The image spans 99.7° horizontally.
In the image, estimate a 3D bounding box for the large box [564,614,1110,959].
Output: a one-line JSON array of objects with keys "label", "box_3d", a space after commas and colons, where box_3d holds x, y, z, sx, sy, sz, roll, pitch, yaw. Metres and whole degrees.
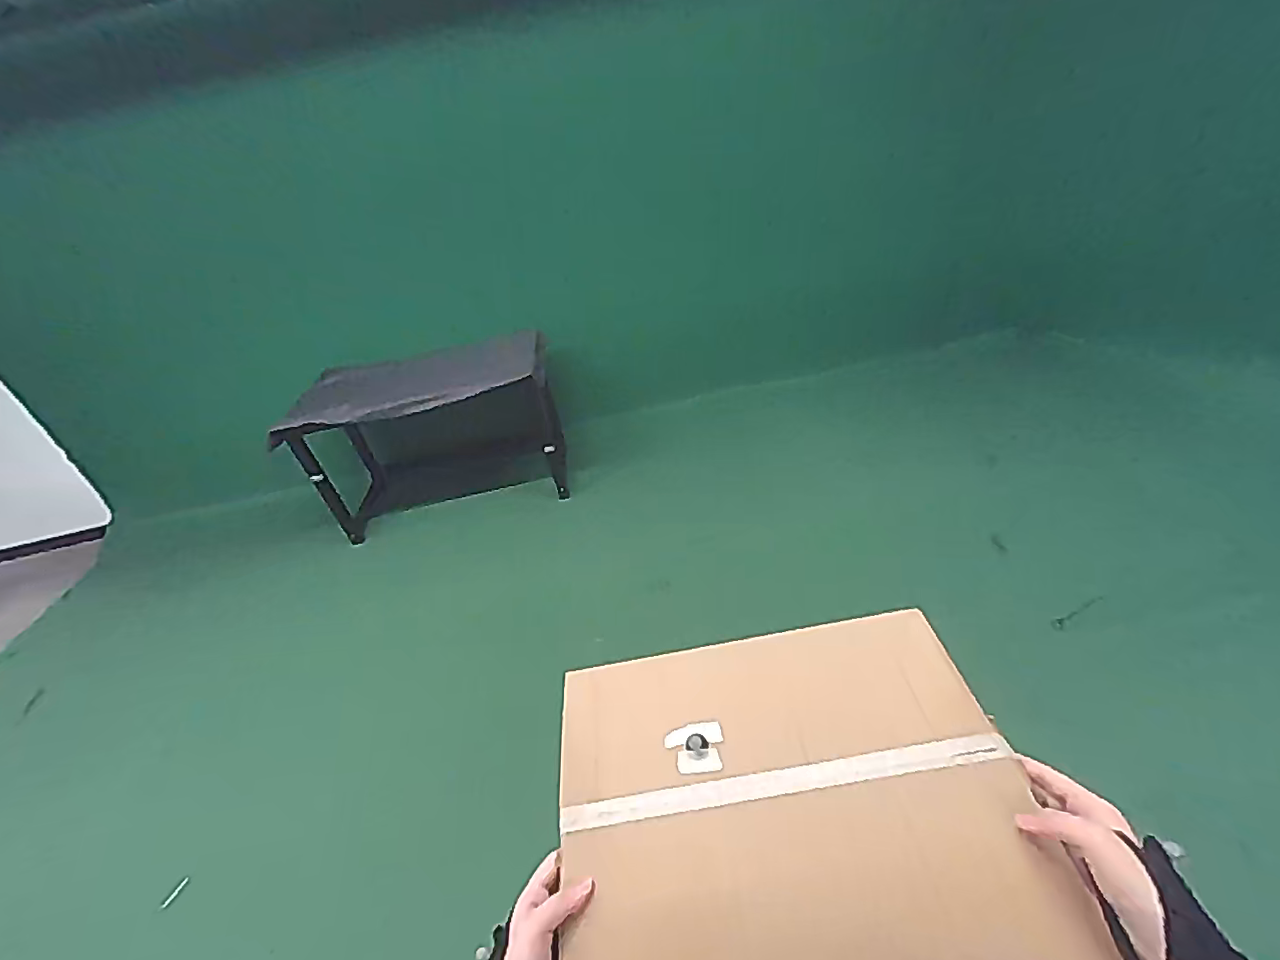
[{"label": "large box", "box_3d": [0.157, 0.399, 0.592, 0.408, 0.320, 0.320, -13, 38, 5]}]
